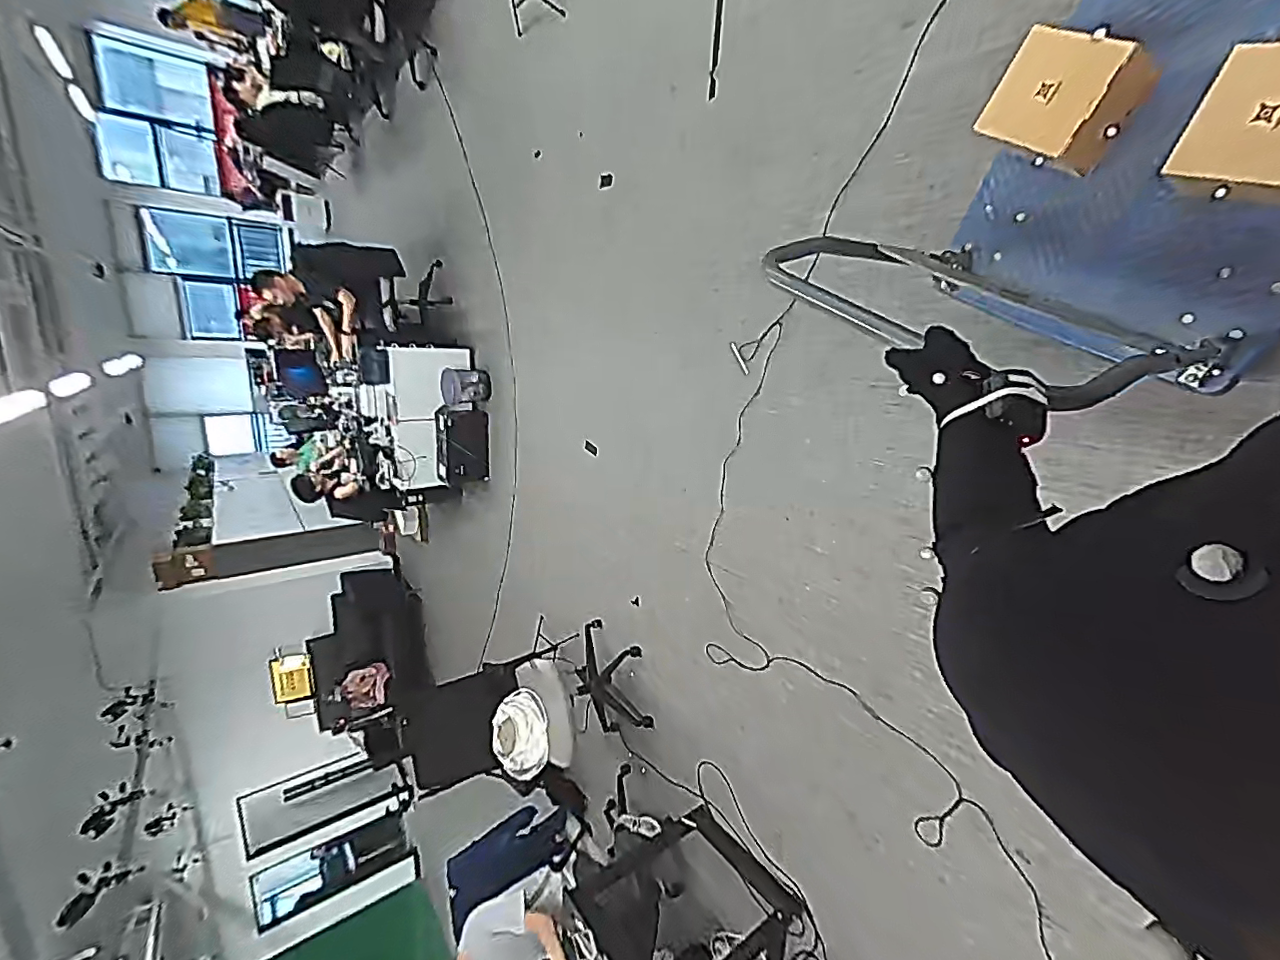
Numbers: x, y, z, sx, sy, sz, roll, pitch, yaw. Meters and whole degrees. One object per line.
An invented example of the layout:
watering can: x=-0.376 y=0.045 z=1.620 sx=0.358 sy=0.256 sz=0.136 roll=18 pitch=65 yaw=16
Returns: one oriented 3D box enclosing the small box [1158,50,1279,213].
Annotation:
small box: x=0.936 y=-0.504 z=0.796 sx=0.179 sy=0.176 sz=0.168 roll=42 pitch=128 yaw=41
